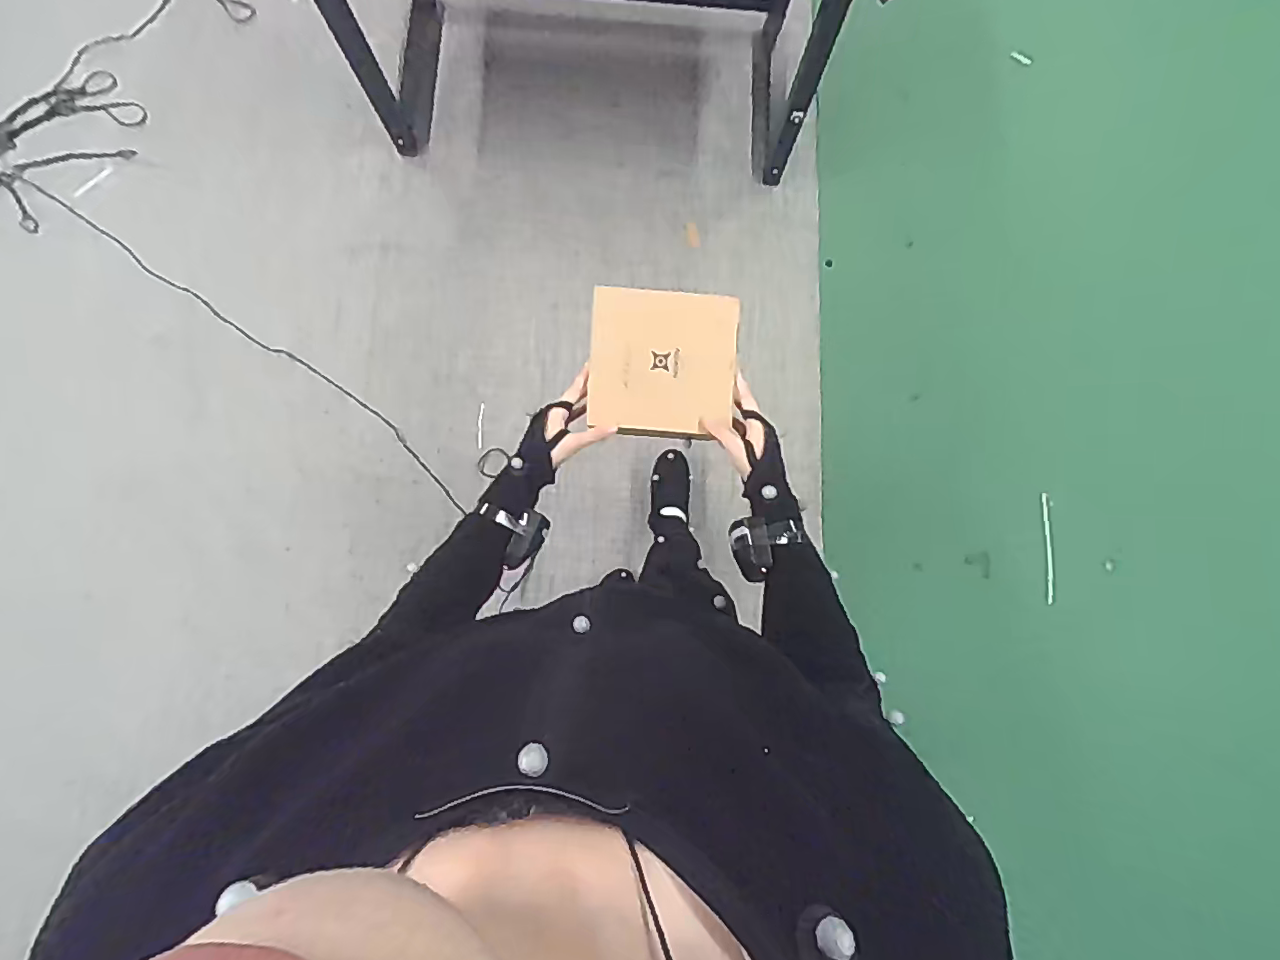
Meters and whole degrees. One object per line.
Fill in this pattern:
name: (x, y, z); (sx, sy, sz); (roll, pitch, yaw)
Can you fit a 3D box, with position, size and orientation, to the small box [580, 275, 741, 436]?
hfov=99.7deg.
small box: (0.021, -0.148, 0.701); (0.179, 0.176, 0.168); (4, 91, -1)
